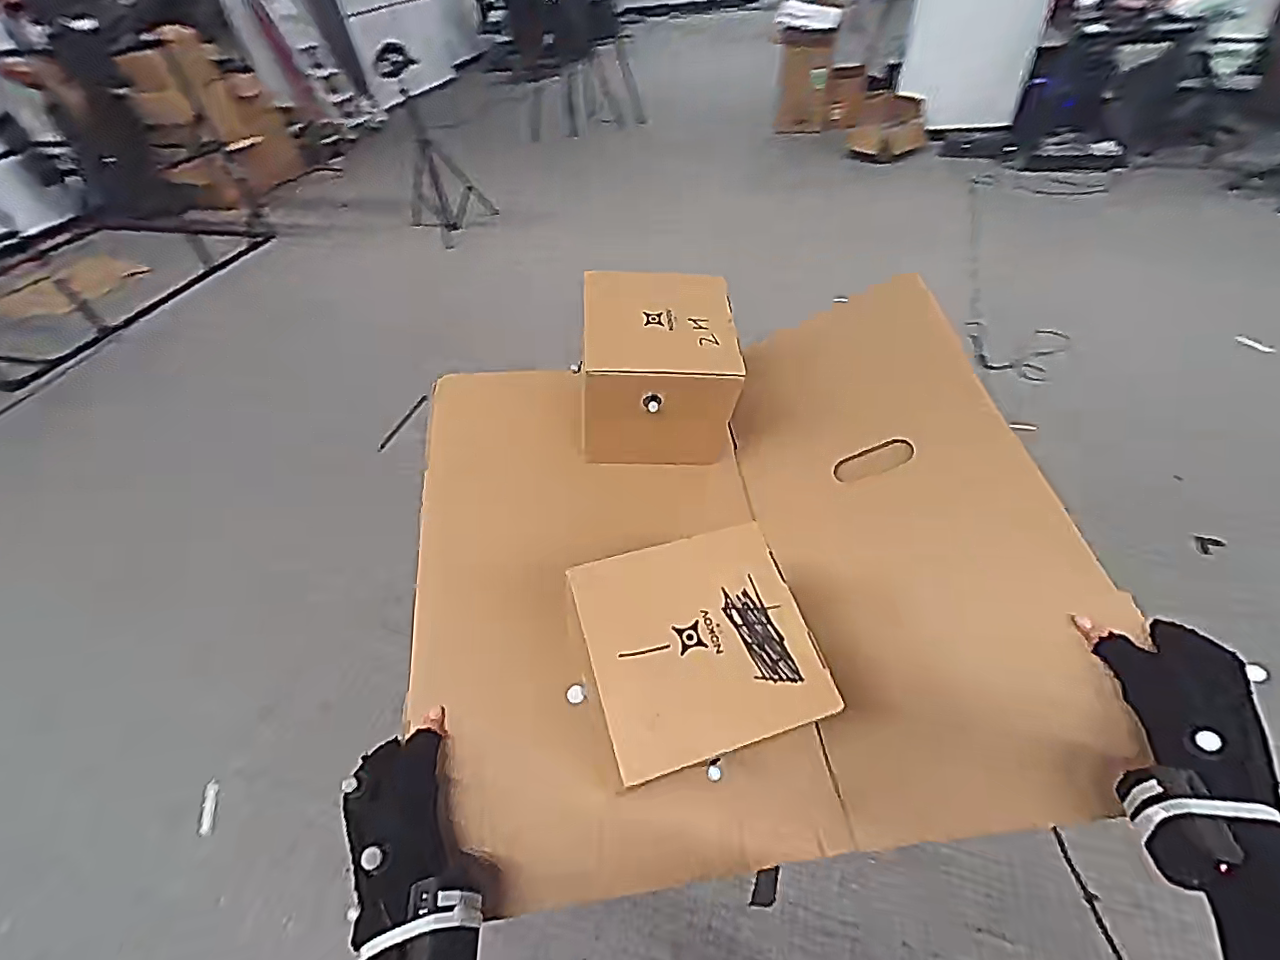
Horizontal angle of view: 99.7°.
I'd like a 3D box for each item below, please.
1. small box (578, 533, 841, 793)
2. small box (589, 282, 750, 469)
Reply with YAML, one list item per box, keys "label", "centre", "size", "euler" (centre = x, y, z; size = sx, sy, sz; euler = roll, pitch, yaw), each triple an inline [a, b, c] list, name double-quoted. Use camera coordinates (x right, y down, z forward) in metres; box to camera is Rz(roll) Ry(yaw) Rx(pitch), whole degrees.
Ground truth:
- label: "small box"
  centre: [0.043, 0.172, 0.498]
  size: [0.179, 0.176, 0.168]
  euler: [-12, 60, -13]
- label: "small box"
  centre: [0.025, -0.126, 0.688]
  size: [0.179, 0.176, 0.168]
  euler: [2, 57, -6]
